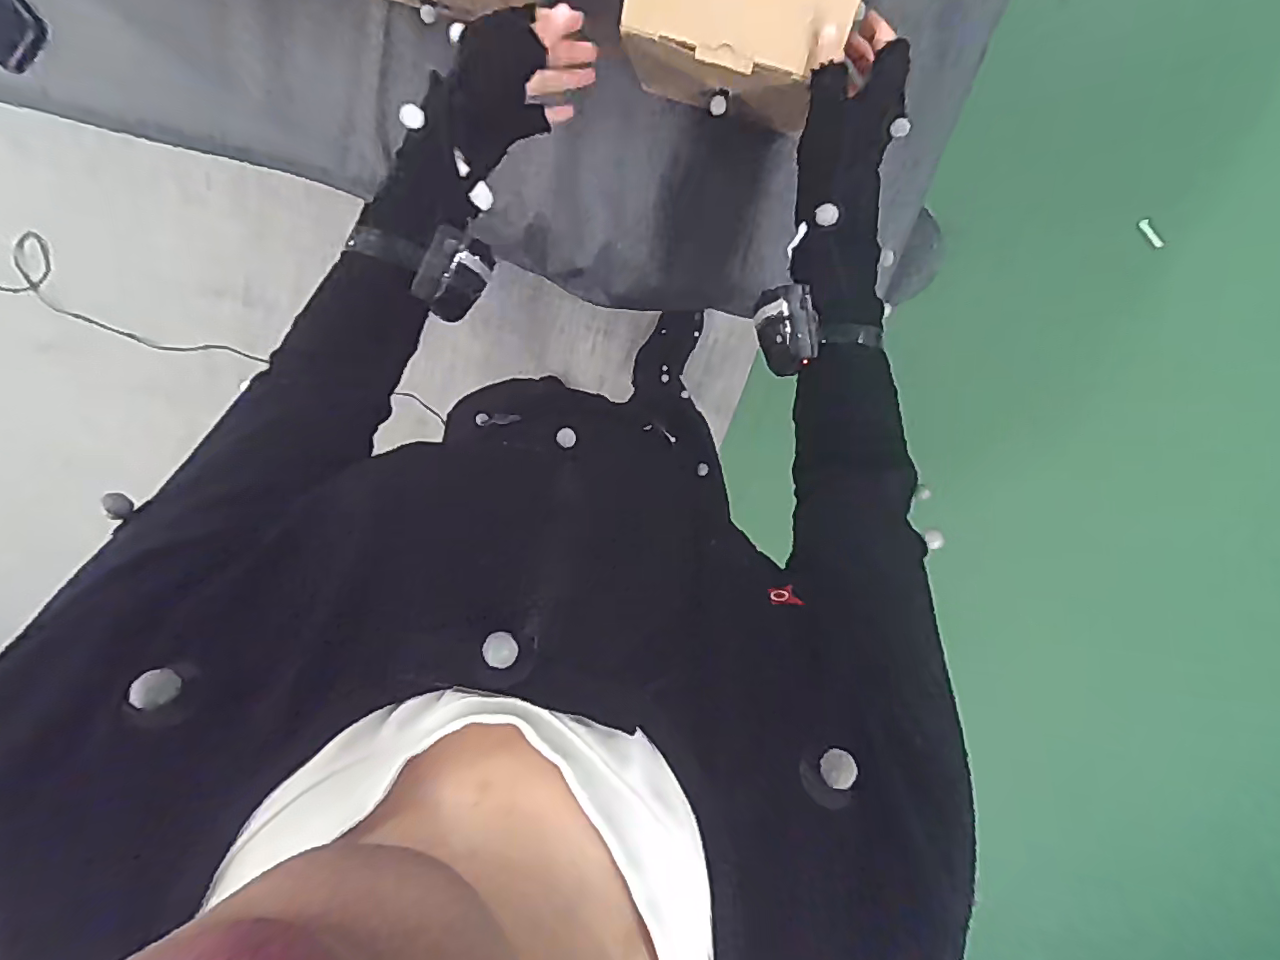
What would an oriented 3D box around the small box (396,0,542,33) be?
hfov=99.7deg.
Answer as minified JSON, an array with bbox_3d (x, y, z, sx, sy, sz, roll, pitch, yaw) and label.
[{"bbox_3d":[-0.172,-0.516,0.441,0.168,0.176,0.179,14,114,2],"label":"small box"}]

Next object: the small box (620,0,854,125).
[{"bbox_3d":[0.094,-0.421,0.443,0.168,0.176,0.179,17,114,0],"label":"small box"}]
